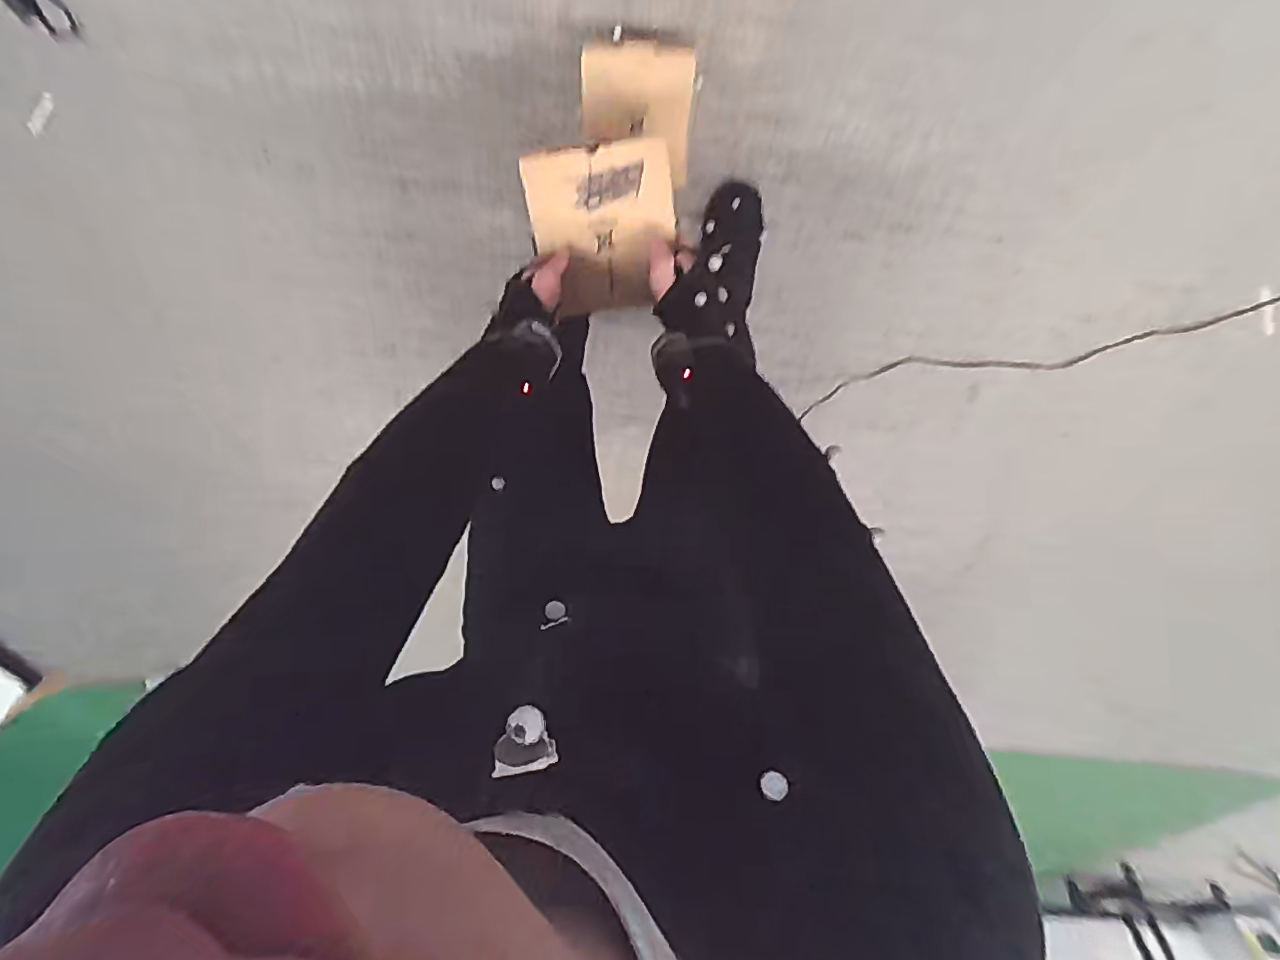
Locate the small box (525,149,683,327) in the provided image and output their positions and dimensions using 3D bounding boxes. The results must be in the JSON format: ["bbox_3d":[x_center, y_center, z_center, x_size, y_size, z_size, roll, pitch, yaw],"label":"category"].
[{"bbox_3d":[-0.037,-0.312,0.700,0.168,0.176,0.179,-6,119,5],"label":"small box"}]

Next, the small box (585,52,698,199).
[{"bbox_3d":[0.003,-0.583,0.886,0.168,0.176,0.179,4,134,2],"label":"small box"}]
